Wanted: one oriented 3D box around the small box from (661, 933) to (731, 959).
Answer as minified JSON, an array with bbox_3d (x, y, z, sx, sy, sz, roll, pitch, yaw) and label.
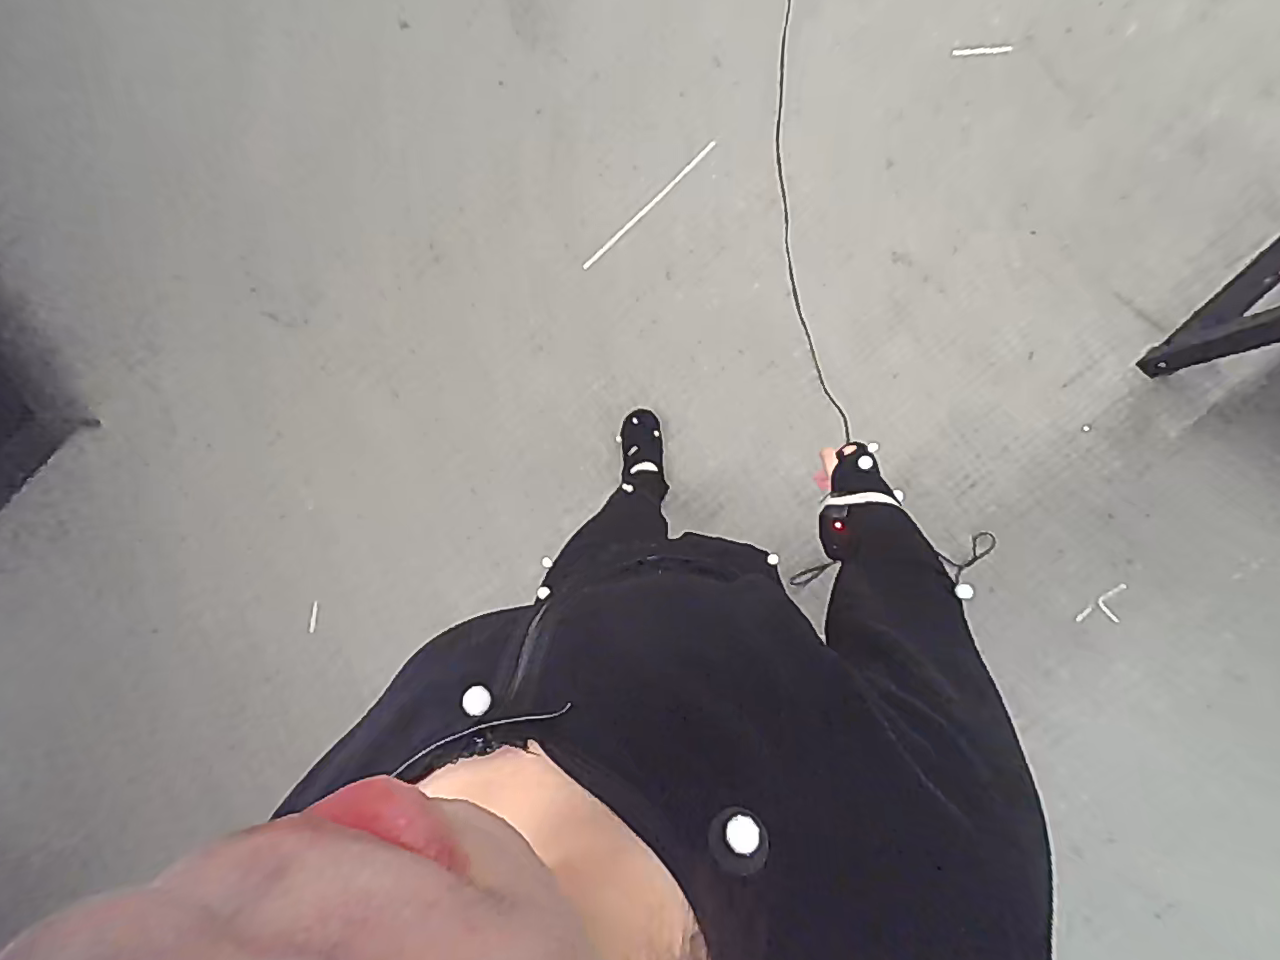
[{"bbox_3d":[0.143,1.183,1.206,0.168,0.176,0.179,-37,84,8],"label":"small box"}]
